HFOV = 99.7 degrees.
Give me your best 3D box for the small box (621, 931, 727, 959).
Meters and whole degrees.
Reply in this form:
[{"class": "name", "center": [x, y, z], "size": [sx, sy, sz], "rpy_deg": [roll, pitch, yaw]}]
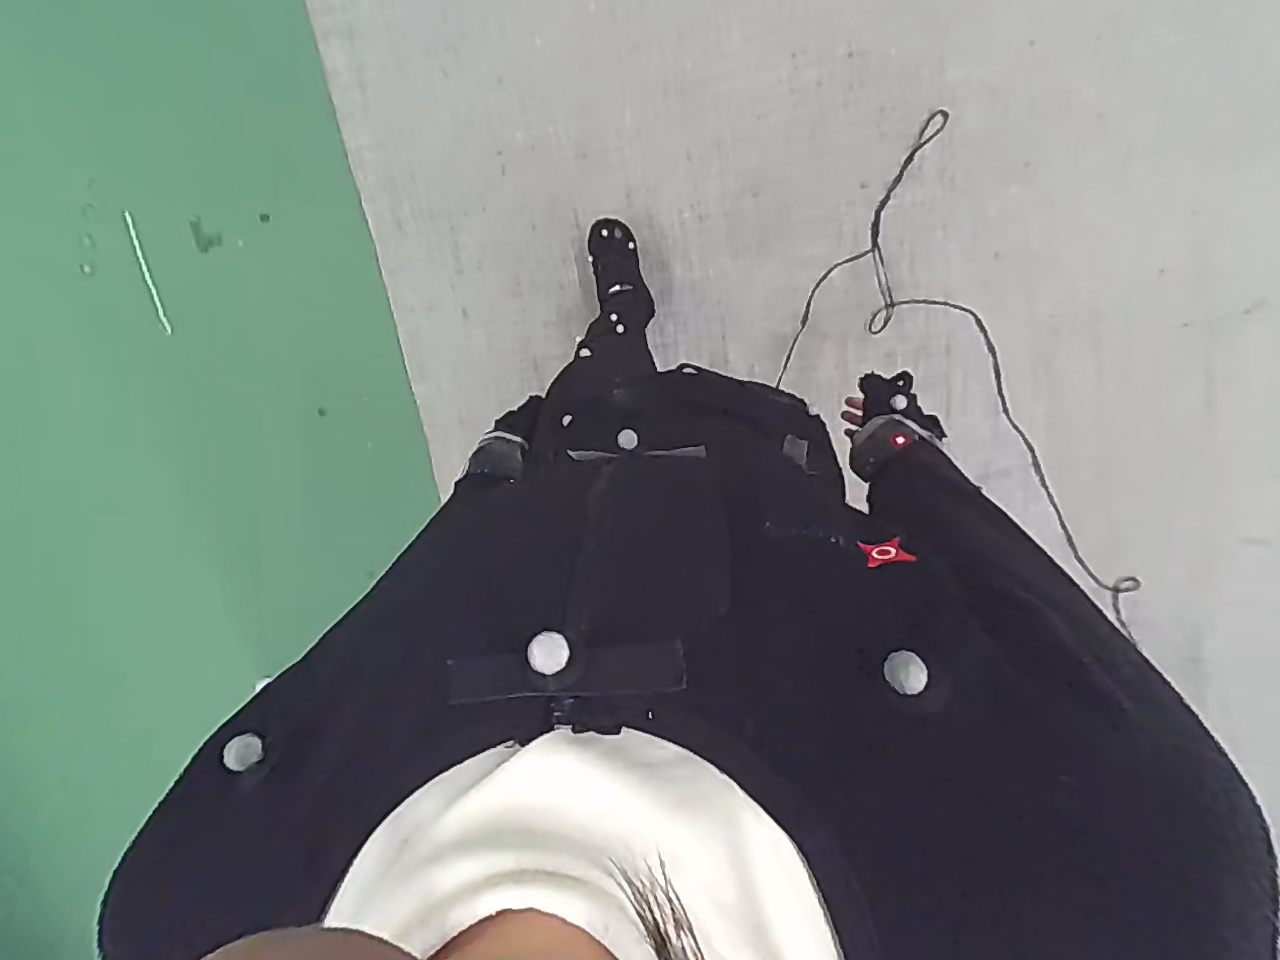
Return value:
[{"class": "small box", "center": [0.056, 0.837, 0.829], "size": [0.168, 0.176, 0.179], "rpy_deg": [-8, 104, 10]}]
